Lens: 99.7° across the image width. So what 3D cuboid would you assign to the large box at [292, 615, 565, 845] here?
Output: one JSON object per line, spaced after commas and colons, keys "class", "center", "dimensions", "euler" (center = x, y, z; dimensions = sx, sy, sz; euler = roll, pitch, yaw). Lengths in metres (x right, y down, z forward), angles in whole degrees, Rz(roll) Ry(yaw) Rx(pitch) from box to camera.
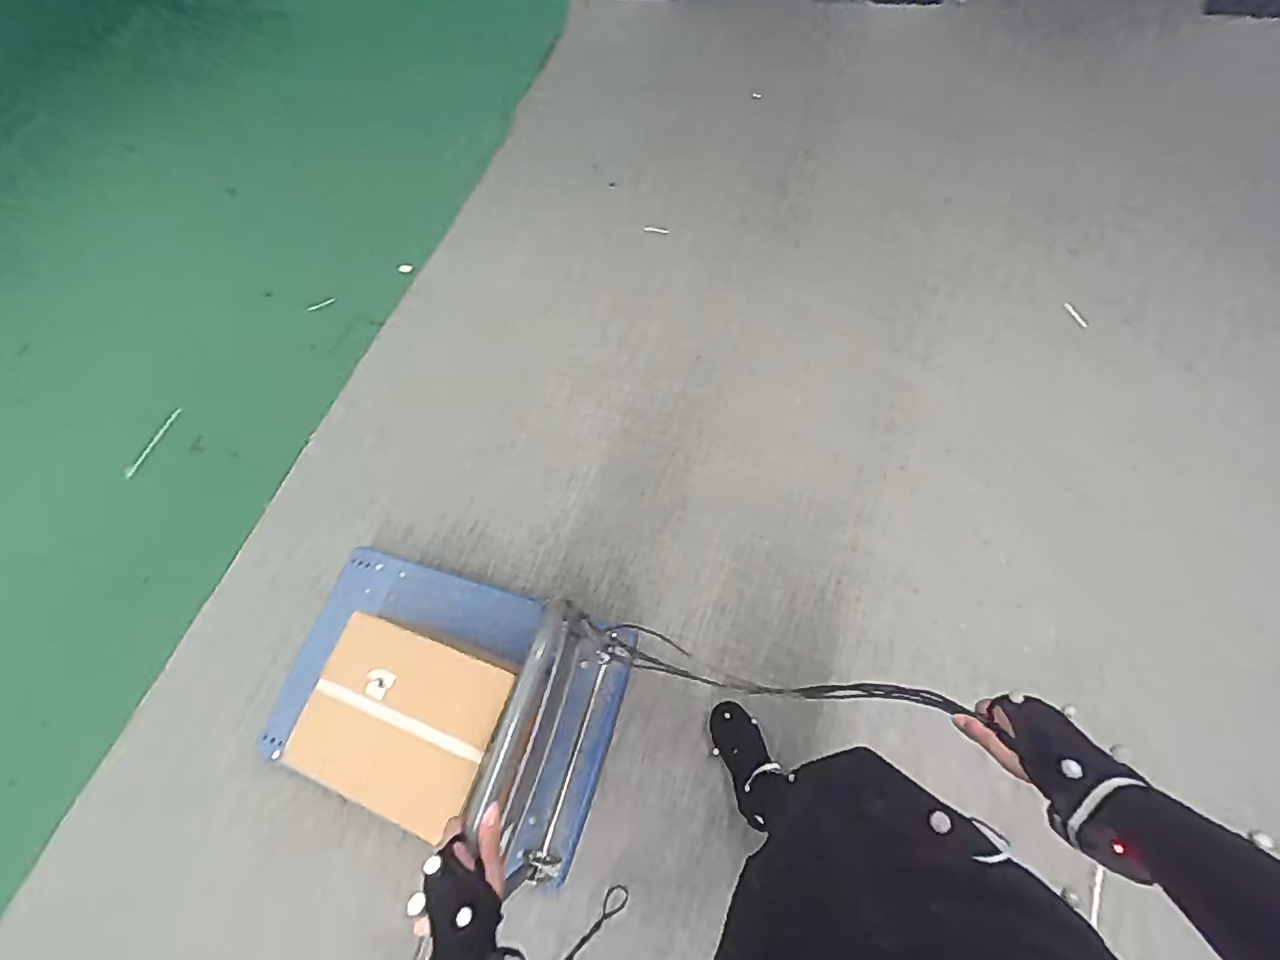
{"class": "large box", "center": [-0.436, 0.528, 1.202], "dimensions": [0.408, 0.320, 0.320], "euler": [16, 71, 17]}
